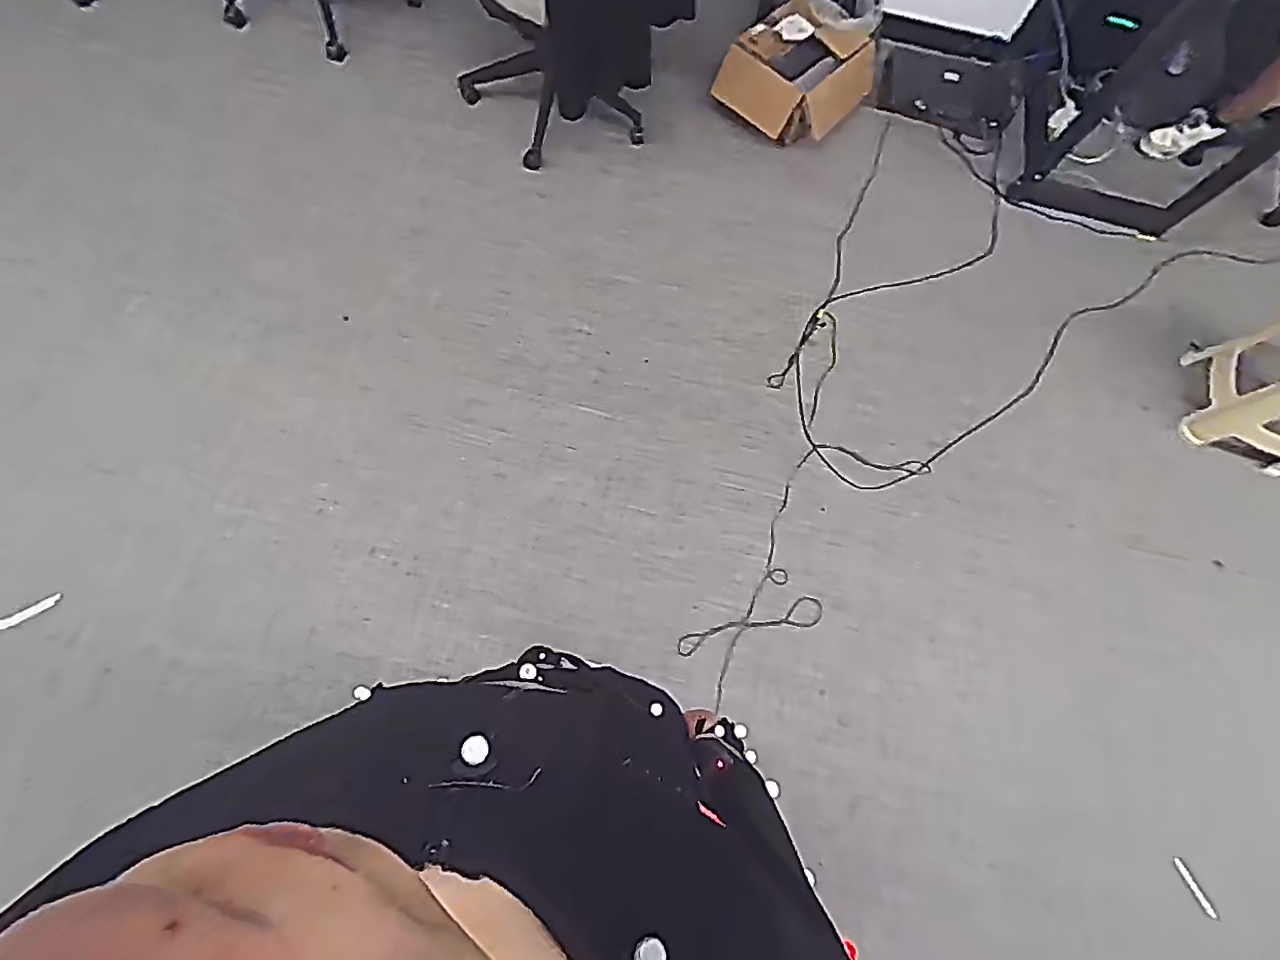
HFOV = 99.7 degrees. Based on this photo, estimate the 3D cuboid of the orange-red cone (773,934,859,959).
[{"bbox_3d":[0.396,1.071,1.019,0.199,0.360,0.198,10,72,-1],"label":"orange-red cone"}]
